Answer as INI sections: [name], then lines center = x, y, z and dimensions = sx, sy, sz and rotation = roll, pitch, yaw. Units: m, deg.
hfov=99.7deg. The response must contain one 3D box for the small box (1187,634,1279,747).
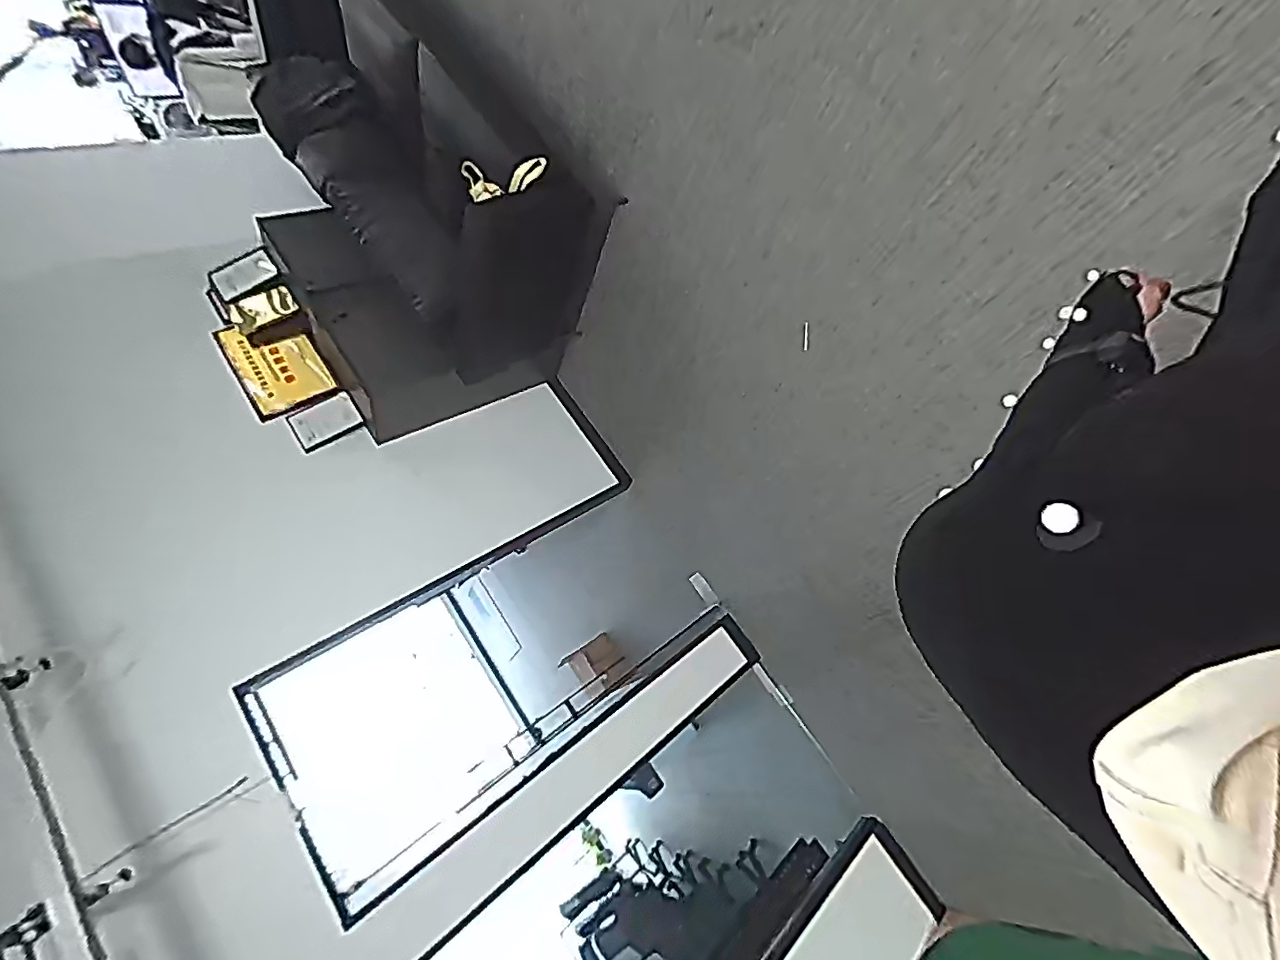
[small box]
center = 1.429, 0.479, 1.234
dimensions = 0.168, 0.176, 0.179
rotation = 52, 147, 13
